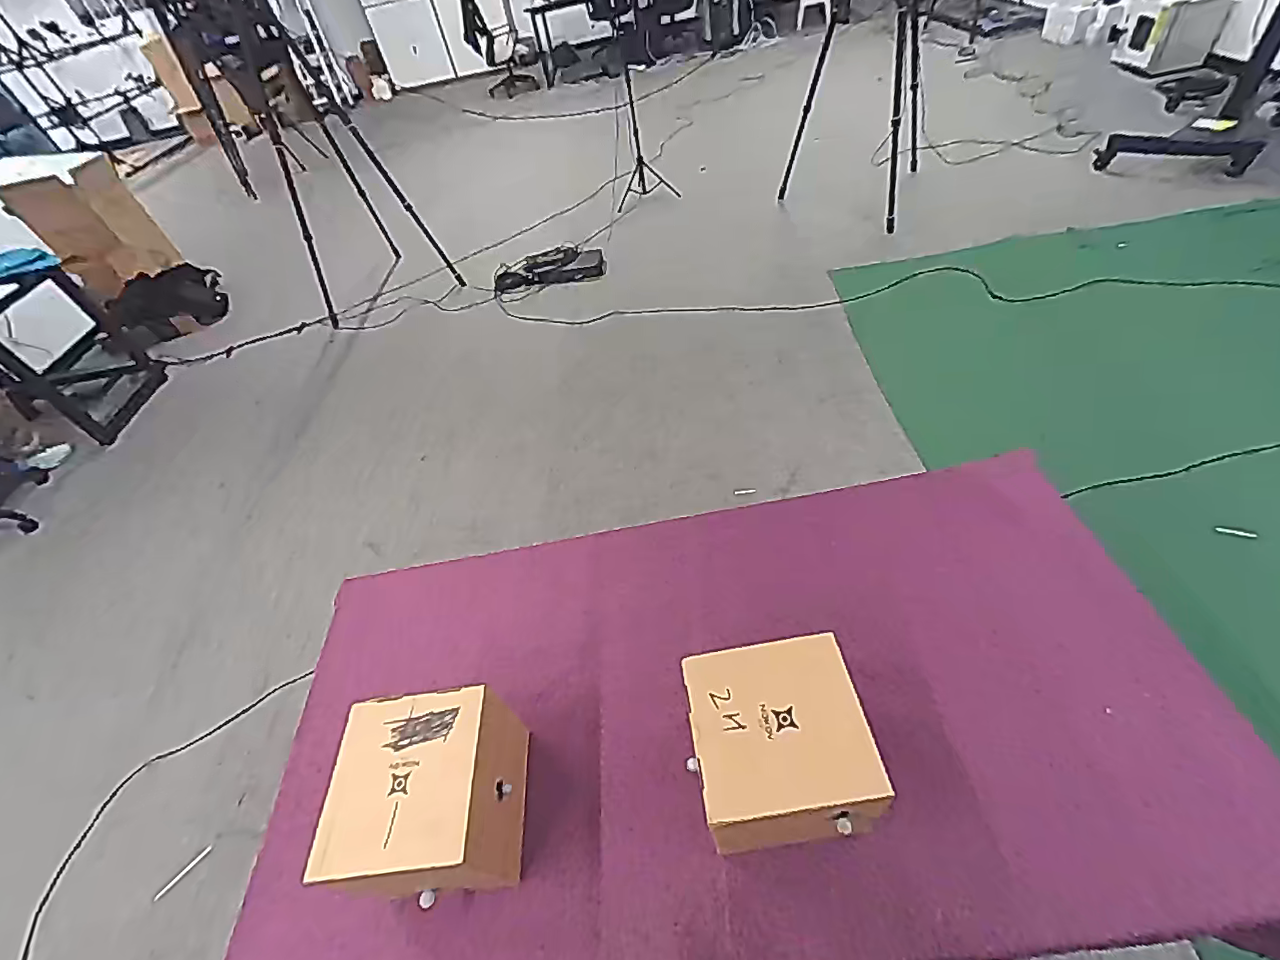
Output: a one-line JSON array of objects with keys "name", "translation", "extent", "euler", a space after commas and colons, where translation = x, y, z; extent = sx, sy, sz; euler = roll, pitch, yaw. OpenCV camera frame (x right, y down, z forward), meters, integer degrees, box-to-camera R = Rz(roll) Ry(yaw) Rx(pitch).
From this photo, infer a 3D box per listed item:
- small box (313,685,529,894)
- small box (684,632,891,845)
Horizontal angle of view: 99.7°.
[{"name": "small box", "translation": [-0.238, 0.370, 0.644], "extent": [0.168, 0.176, 0.179], "euler": [-10, 48, 4]}, {"name": "small box", "translation": [0.154, 0.297, 0.617], "extent": [0.179, 0.176, 0.168], "euler": [-11, 47, 3]}]
